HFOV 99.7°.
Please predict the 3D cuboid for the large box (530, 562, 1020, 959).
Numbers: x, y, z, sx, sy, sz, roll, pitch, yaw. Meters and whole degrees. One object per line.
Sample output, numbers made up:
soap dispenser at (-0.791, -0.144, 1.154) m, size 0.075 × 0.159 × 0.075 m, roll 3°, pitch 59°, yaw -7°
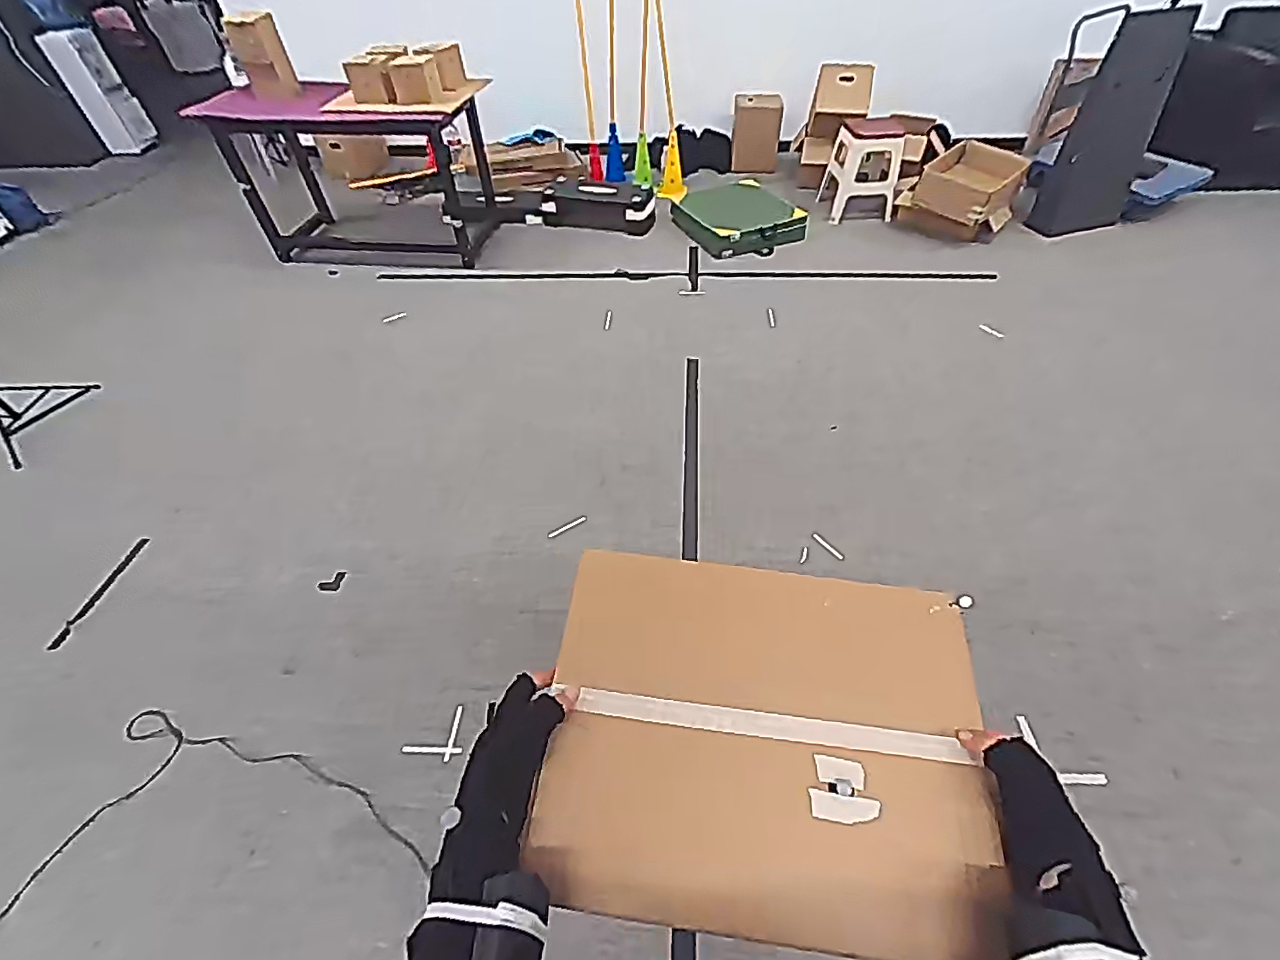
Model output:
large box at (0.117, 0.319, 0.638) m, size 0.408 × 0.320 × 0.320 m, roll 7°, pitch 57°, yaw 3°
